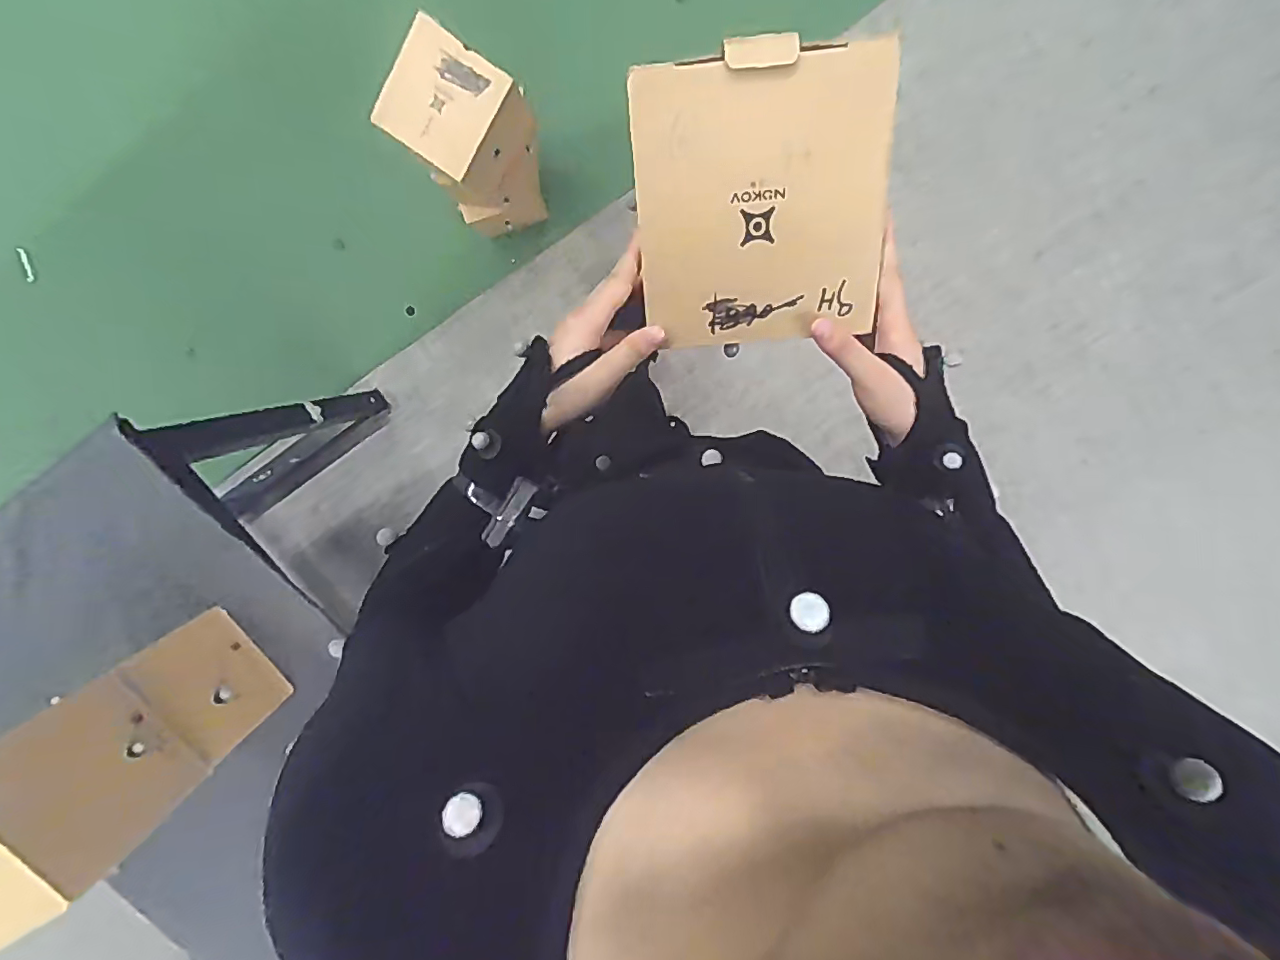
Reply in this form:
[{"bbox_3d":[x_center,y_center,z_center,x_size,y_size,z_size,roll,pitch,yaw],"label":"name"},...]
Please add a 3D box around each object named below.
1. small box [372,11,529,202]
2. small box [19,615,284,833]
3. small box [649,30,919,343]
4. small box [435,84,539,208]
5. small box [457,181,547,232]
[{"bbox_3d":[-0.302,-0.606,0.906,0.168,0.176,0.179,33,103,-9],"label":"small box"},{"bbox_3d":[-0.626,0.314,0.726,0.179,0.176,0.168,-32,102,10],"label":"small box"},{"bbox_3d":[0.093,-0.218,0.431,0.168,0.176,0.179,-3,117,5],"label":"small box"},{"bbox_3d":[-0.294,-0.651,1.064,0.168,0.176,0.179,4,104,-2],"label":"small box"},{"bbox_3d":[-0.323,-0.679,1.225,0.168,0.176,0.179,-16,103,4],"label":"small box"}]
